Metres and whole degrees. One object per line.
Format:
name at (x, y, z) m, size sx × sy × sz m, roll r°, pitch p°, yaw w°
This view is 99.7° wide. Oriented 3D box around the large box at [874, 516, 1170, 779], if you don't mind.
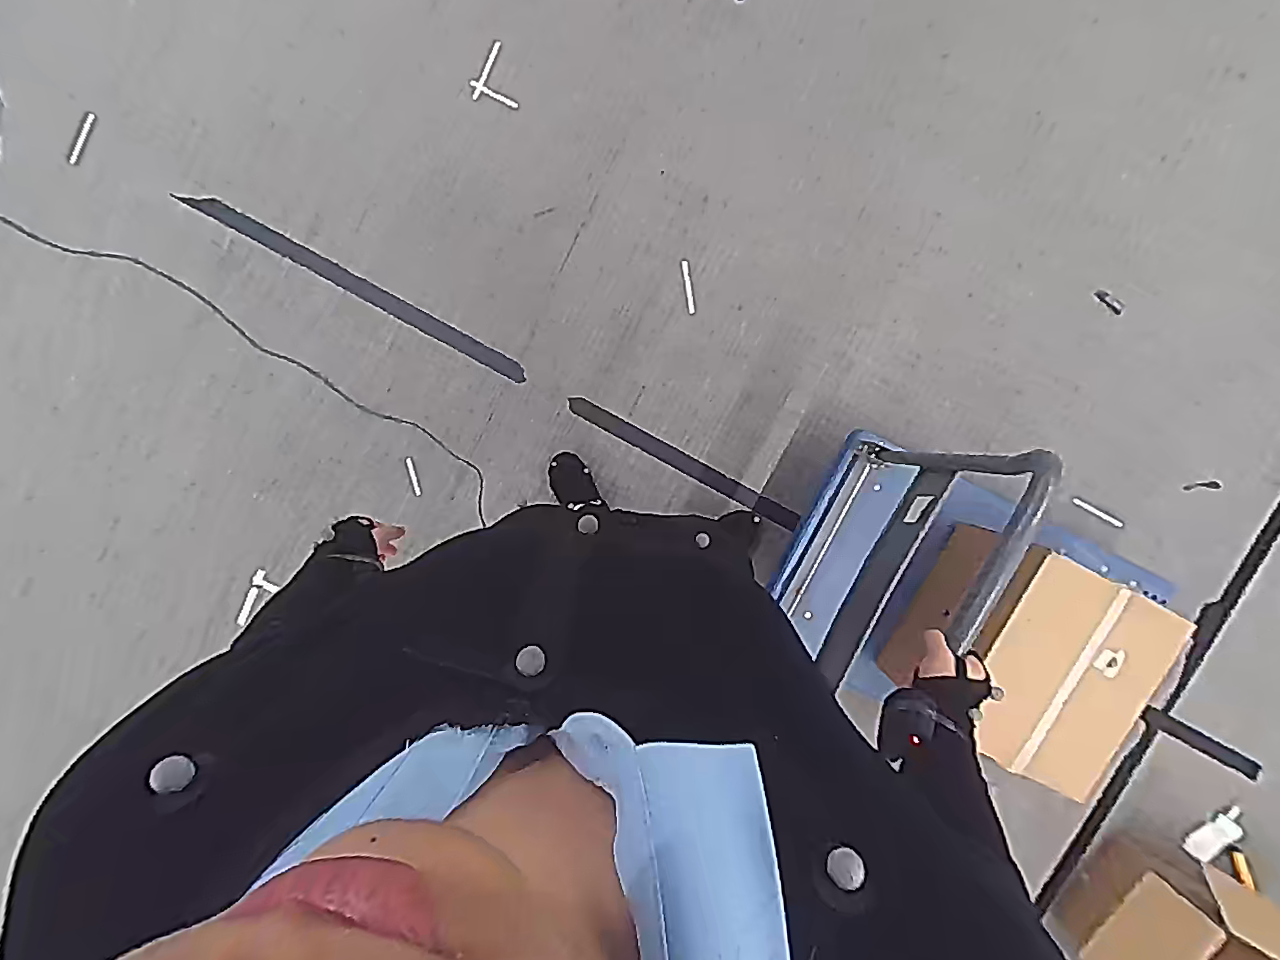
large box at (0.797, 0.338, 1.193) m, size 0.320 × 0.320 × 0.408 m, roll 27°, pitch 94°, yaw -2°
